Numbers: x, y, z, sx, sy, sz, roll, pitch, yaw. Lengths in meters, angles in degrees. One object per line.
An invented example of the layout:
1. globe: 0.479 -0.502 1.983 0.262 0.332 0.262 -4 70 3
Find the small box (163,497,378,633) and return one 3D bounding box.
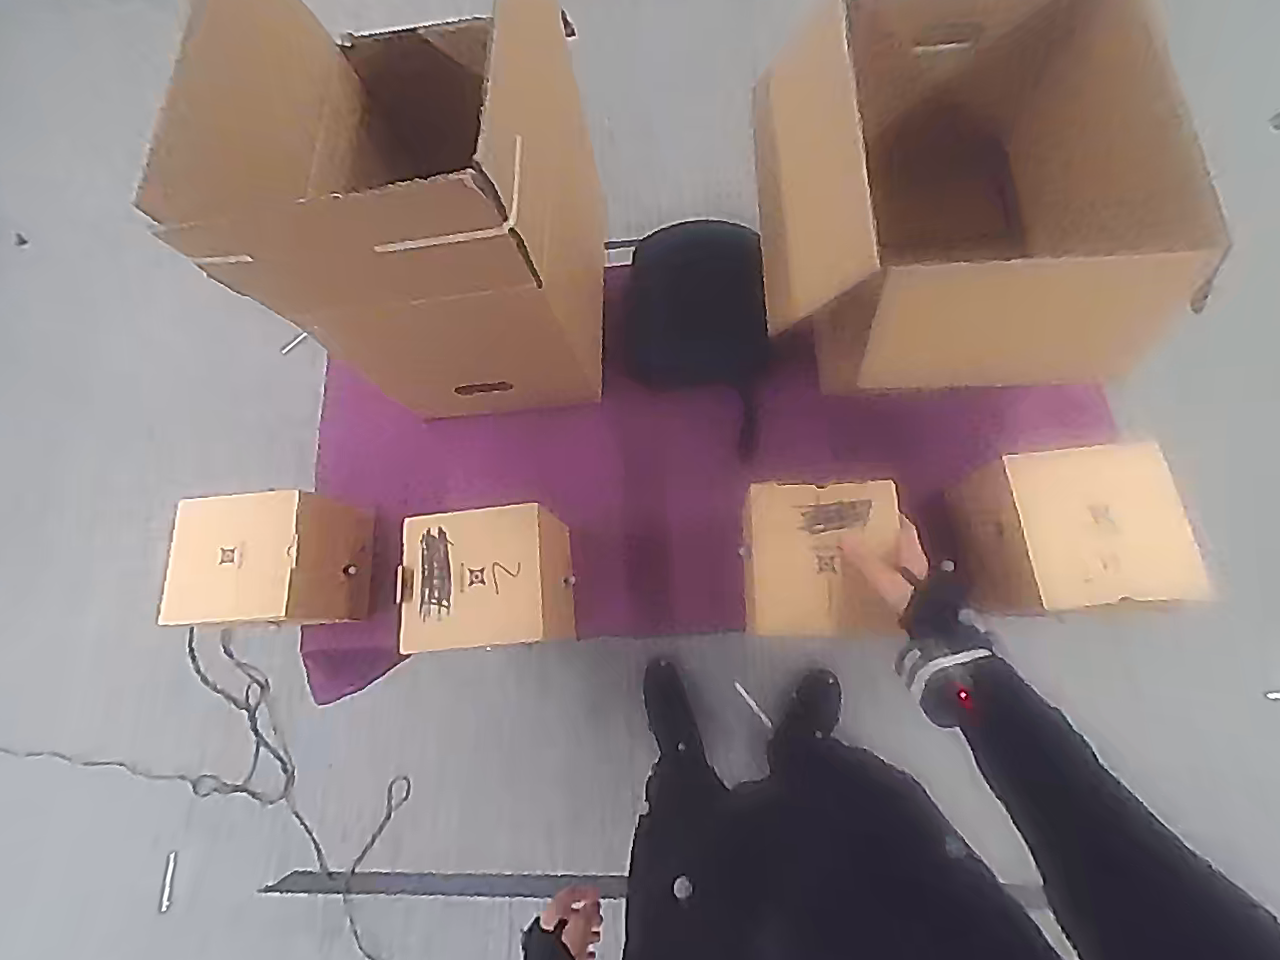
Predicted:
1. small box: -0.508 0.129 0.770 0.179 0.176 0.168 -5 74 4

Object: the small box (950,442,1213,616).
1. small box: 0.507 0.069 0.658 0.168 0.176 0.179 -6 74 6
